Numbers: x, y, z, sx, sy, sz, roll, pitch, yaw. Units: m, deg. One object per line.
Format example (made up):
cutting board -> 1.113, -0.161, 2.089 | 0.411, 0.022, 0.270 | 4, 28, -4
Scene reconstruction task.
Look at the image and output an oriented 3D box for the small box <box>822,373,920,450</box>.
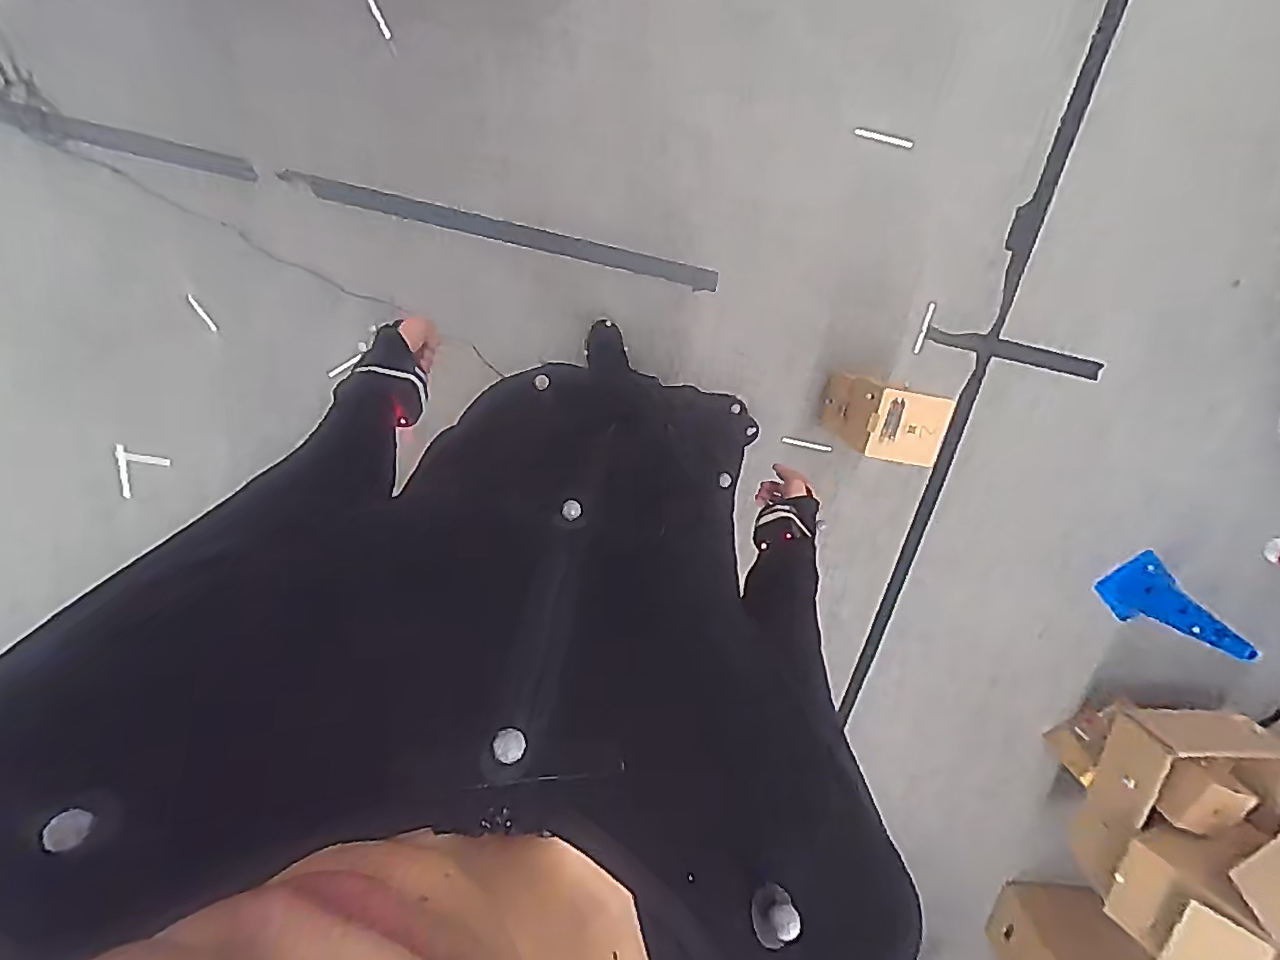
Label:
small box -> 0.629, -0.194, 1.491 | 0.179, 0.176, 0.168 | 8, 109, -1
